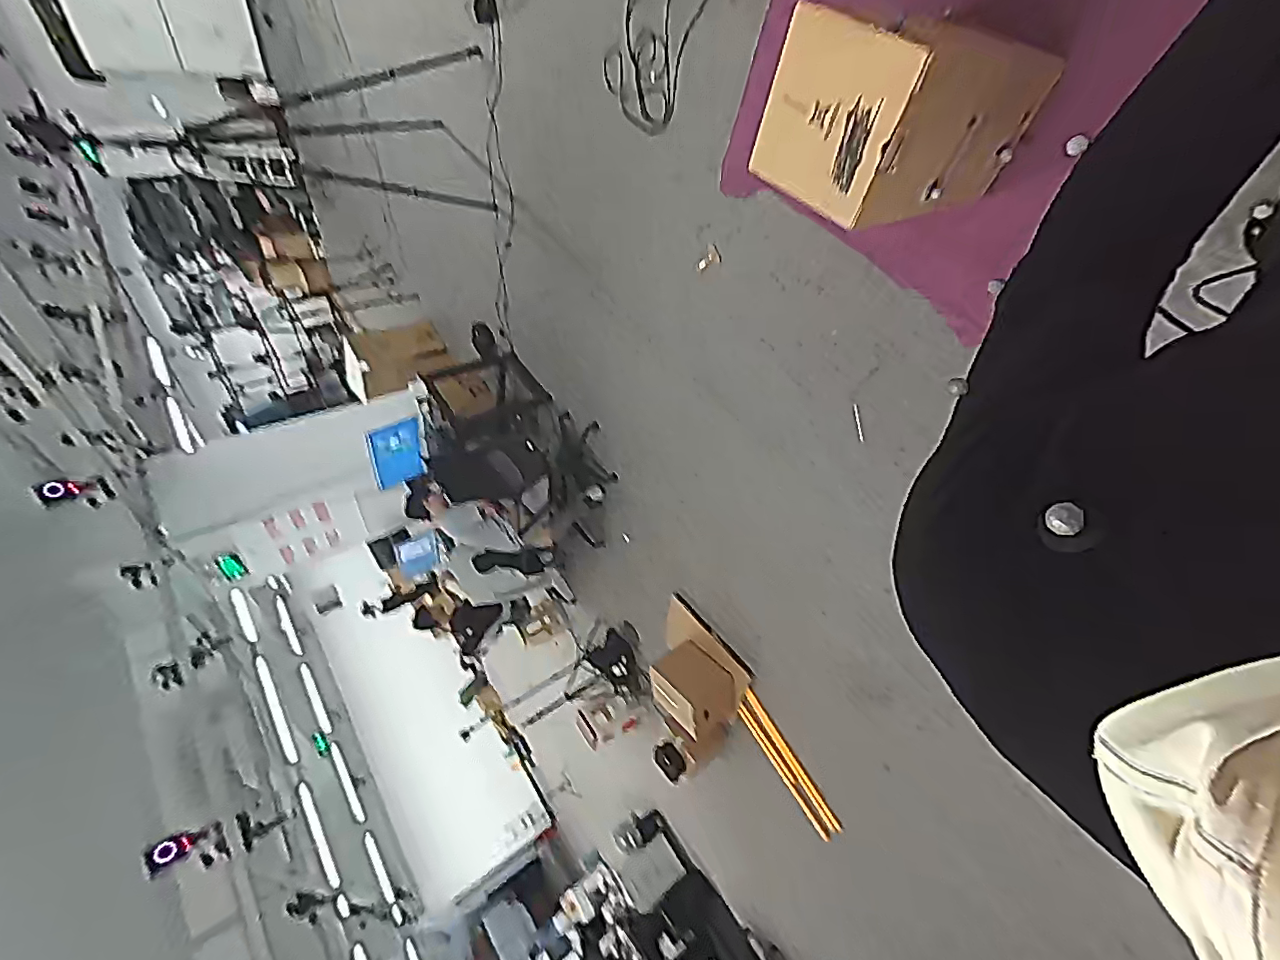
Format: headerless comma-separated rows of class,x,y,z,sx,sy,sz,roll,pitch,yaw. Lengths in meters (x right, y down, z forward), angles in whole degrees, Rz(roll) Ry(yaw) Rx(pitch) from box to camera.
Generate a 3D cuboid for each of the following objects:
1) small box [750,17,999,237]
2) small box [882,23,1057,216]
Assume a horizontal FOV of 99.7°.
small box,0.269,-0.415,0.637,0.179,0.176,0.168,51,147,28
small box,0.394,-0.477,0.723,0.179,0.176,0.168,49,146,27
